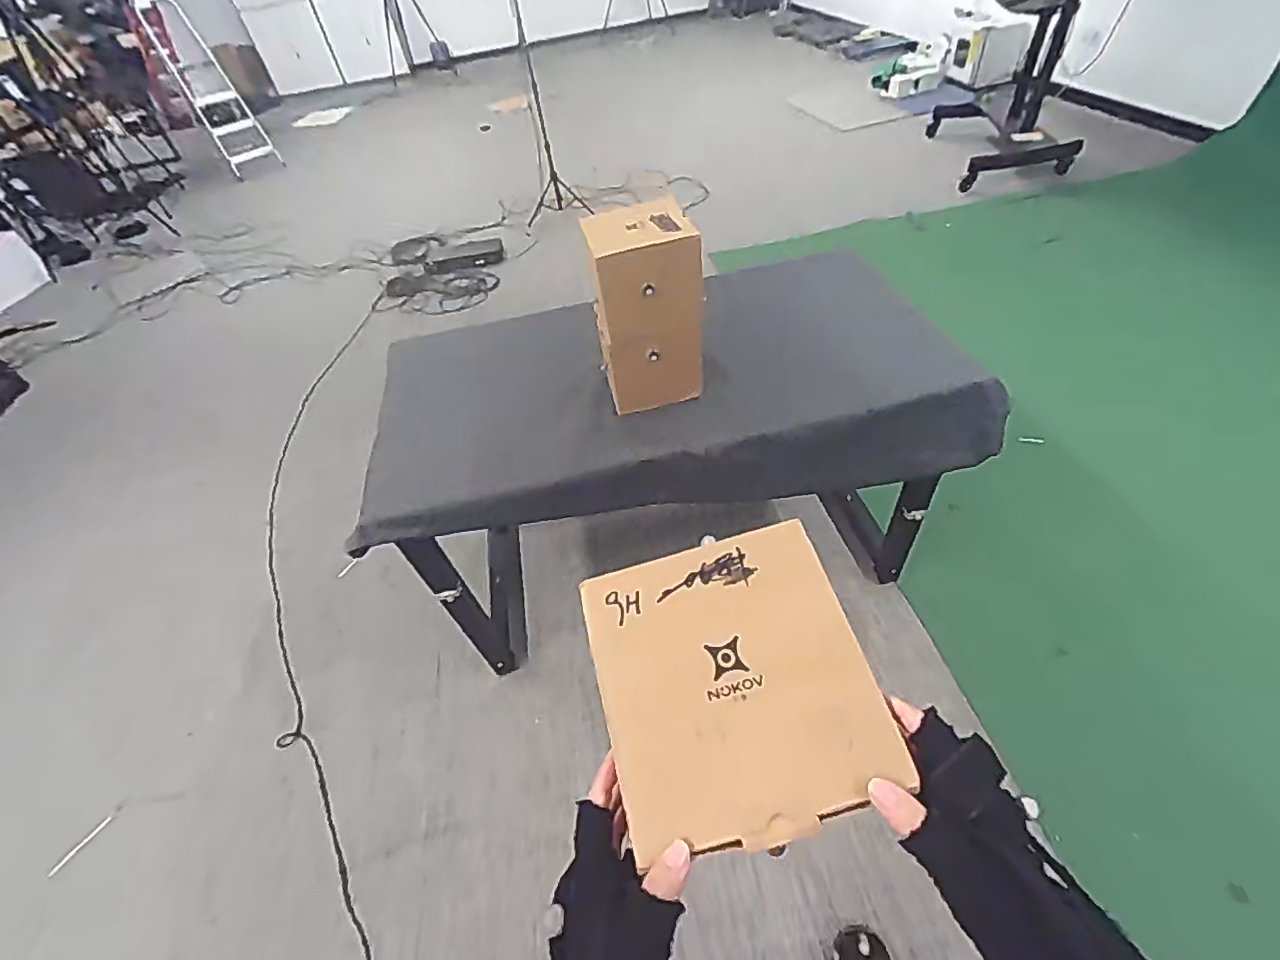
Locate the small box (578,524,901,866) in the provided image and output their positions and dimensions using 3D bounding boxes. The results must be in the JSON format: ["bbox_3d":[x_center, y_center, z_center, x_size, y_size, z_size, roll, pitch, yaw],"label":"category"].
[{"bbox_3d":[0.064,0.162,0.415,0.168,0.176,0.179,-16,60,0],"label":"small box"}]

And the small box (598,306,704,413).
[{"bbox_3d":[0.024,-0.255,1.082,0.179,0.176,0.168,-12,48,-4],"label":"small box"}]

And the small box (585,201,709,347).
[{"bbox_3d":[0.014,-0.362,0.957,0.179,0.176,0.168,-15,48,-6],"label":"small box"}]
